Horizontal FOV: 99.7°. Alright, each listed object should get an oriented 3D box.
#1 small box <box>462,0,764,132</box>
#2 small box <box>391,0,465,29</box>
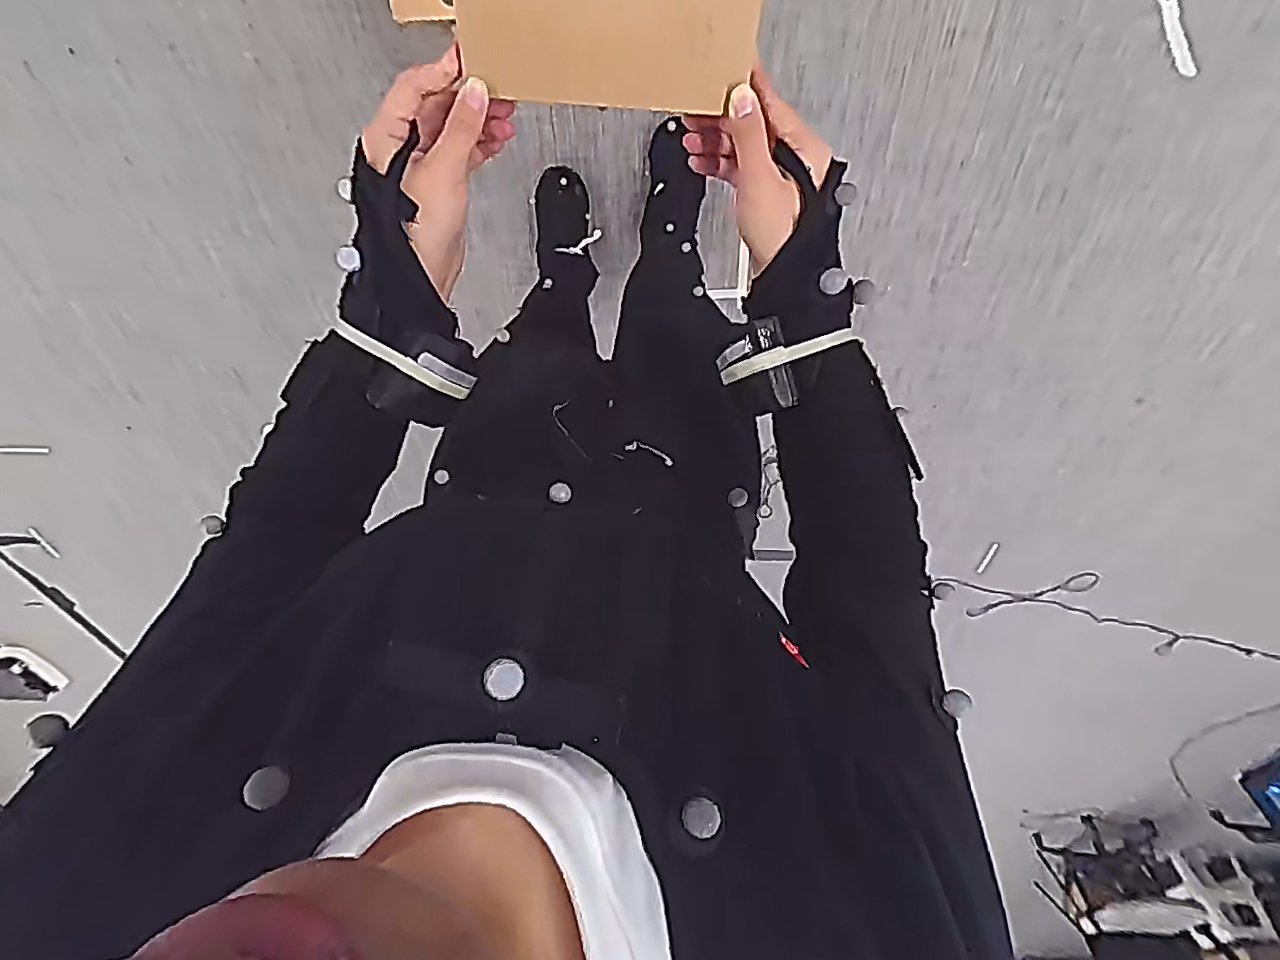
[{"bbox_3d":[-0.012,-0.336,0.325,0.168,0.176,0.179,2,134,-4],"label":"small box"},{"bbox_3d":[-0.279,-0.793,0.816,0.179,0.176,0.168,0,130,2],"label":"small box"}]
